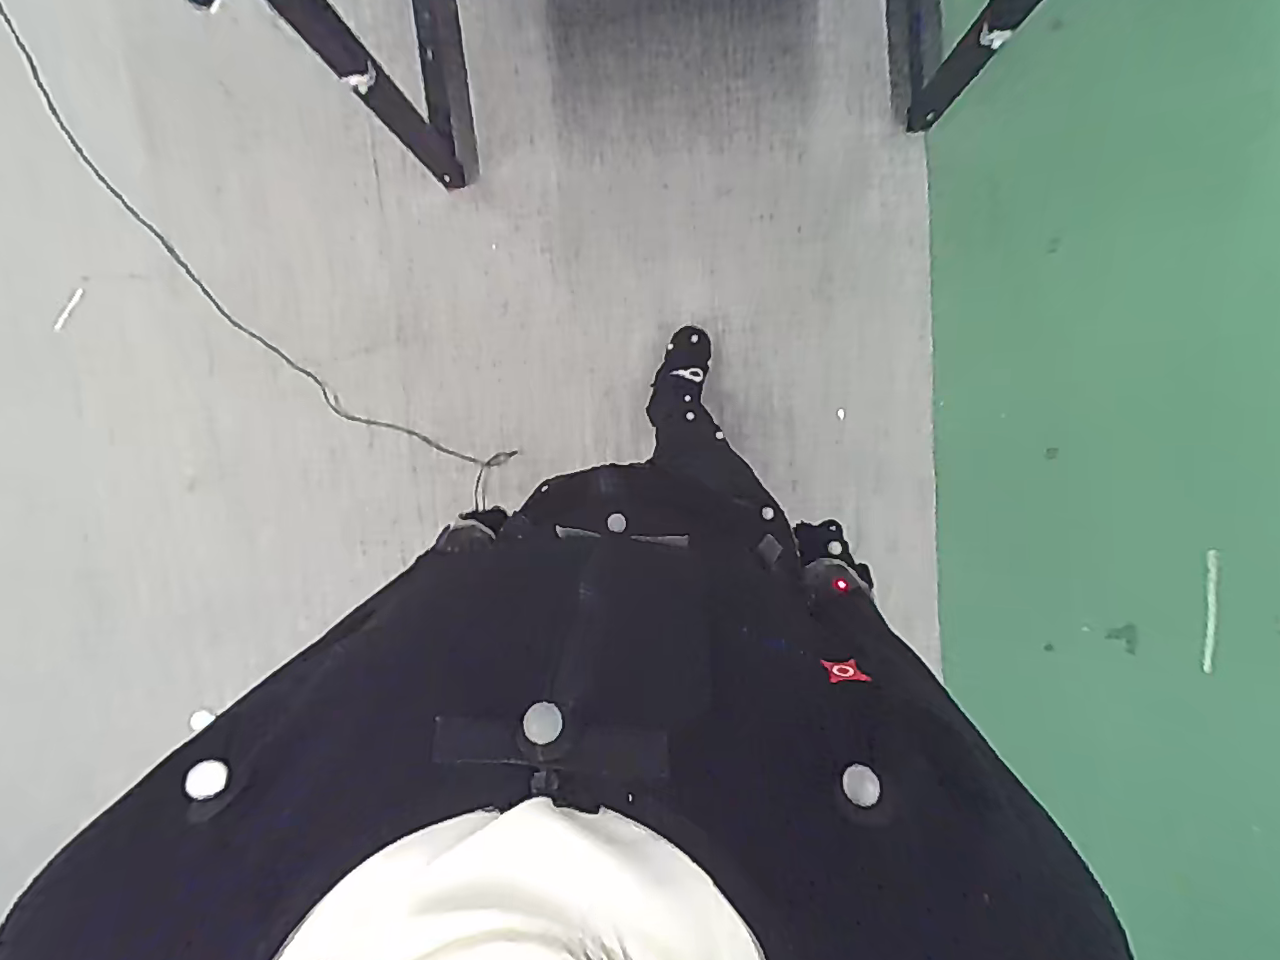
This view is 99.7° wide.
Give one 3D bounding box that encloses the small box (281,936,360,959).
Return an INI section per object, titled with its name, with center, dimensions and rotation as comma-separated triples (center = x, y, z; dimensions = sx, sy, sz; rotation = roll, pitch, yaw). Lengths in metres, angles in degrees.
[small box]
center = -0.746, 1.164, 1.188
dimensions = 0.179, 0.176, 0.168
rotation = 20, 98, 3
